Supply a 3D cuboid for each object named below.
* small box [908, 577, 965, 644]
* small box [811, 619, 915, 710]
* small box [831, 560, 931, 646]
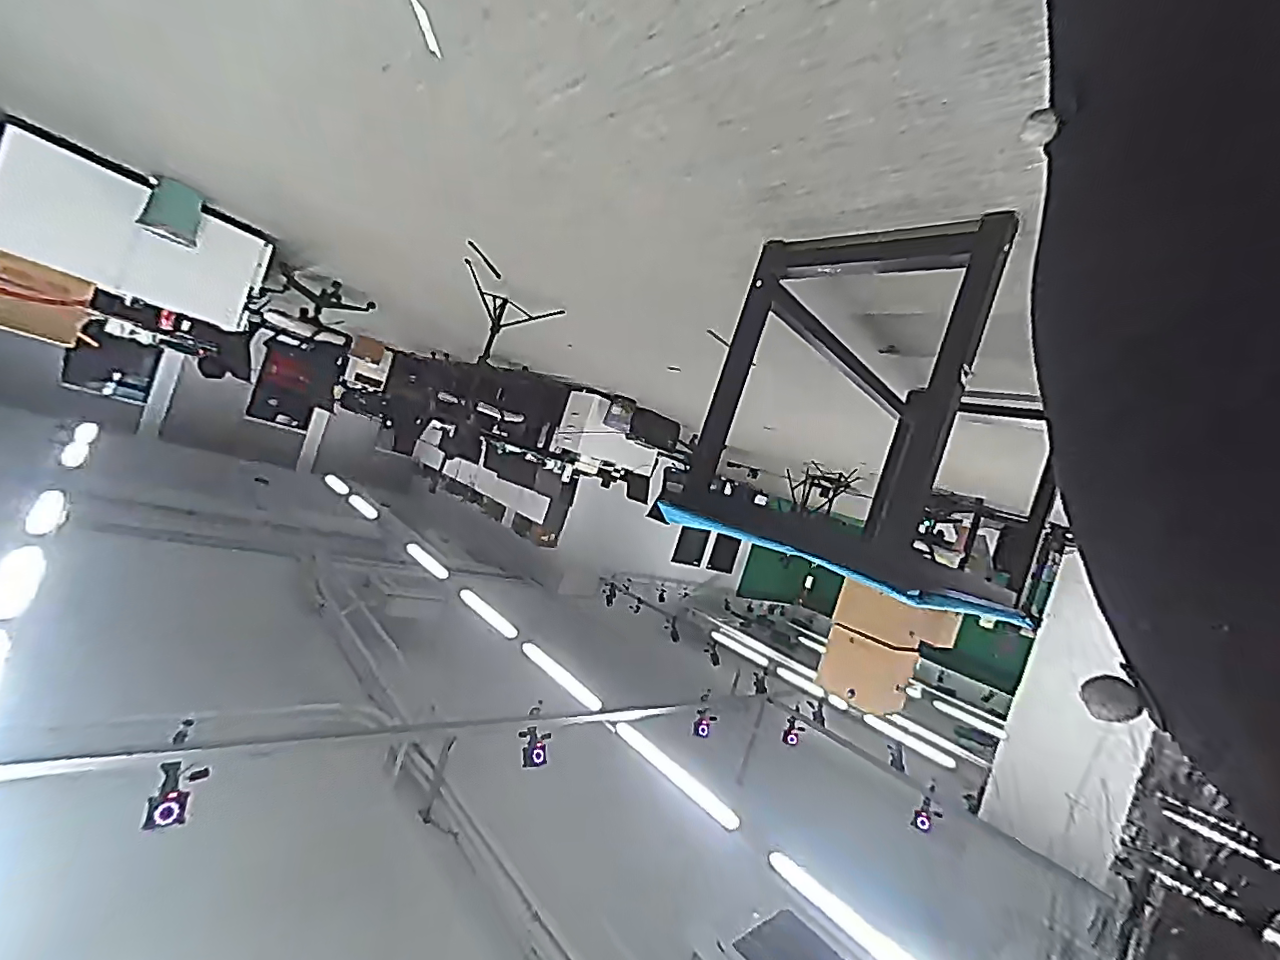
[{"bbox_3d":[0.922,0.418,1.756,0.179,0.176,0.168,16,179,44],"label":"small box"},{"bbox_3d":[0.585,0.475,1.409,0.179,0.176,0.168,20,179,-40],"label":"small box"},{"bbox_3d":[0.637,0.321,1.420,0.179,0.176,0.168,19,179,-43],"label":"small box"}]
